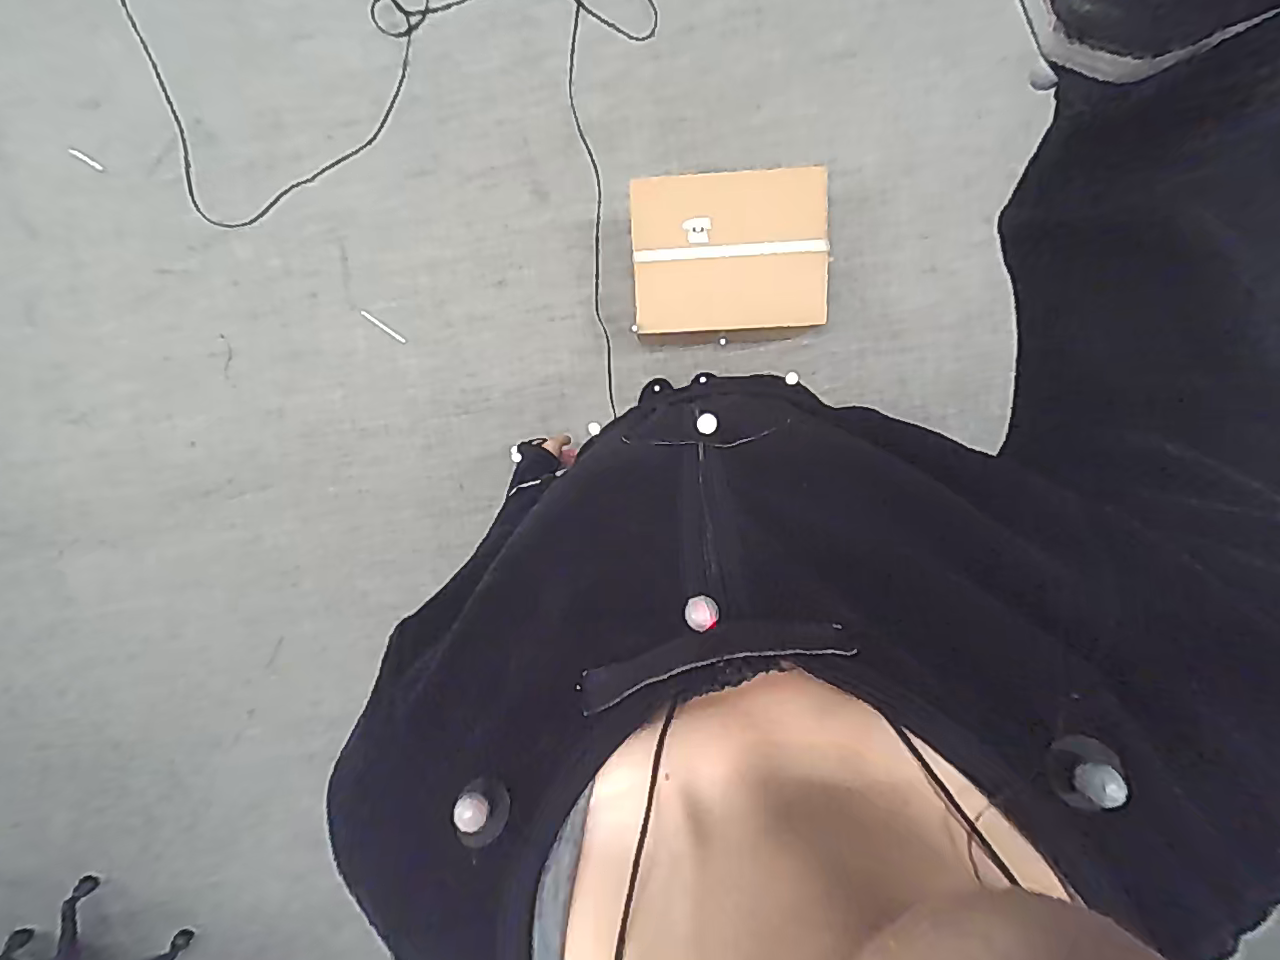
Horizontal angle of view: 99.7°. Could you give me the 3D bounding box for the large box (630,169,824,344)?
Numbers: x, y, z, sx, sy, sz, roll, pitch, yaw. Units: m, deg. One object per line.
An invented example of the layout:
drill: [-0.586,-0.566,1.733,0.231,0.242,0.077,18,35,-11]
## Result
large box: [0.194,-0.498,1.280,0.408,0.320,0.320,-2,99,3]
